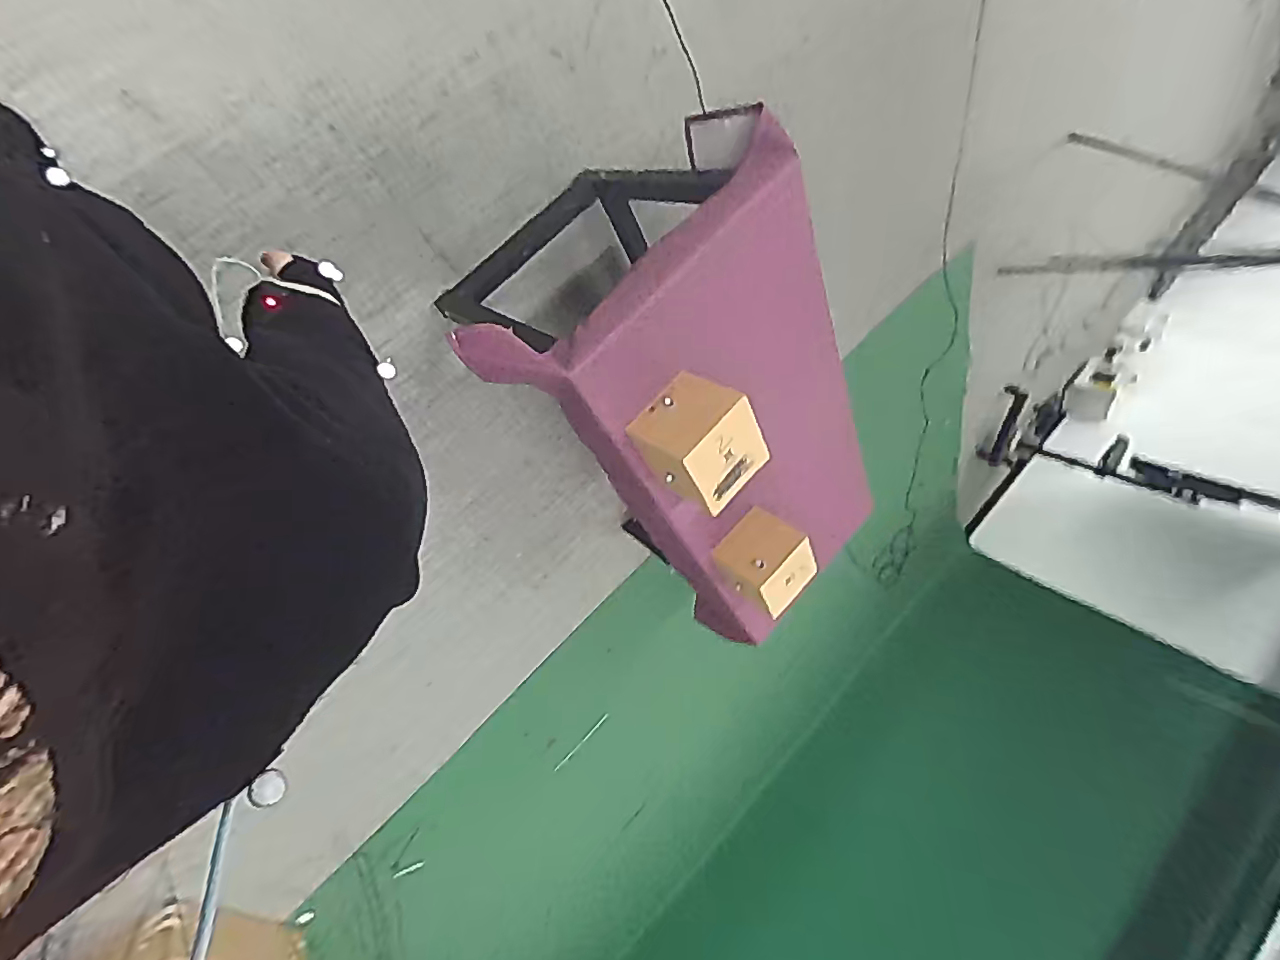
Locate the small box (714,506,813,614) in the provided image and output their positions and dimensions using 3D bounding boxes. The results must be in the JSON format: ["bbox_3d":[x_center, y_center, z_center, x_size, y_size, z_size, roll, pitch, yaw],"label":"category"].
[{"bbox_3d":[0.307,0.199,1.374,0.179,0.176,0.168,-45,136,-13],"label":"small box"}]
